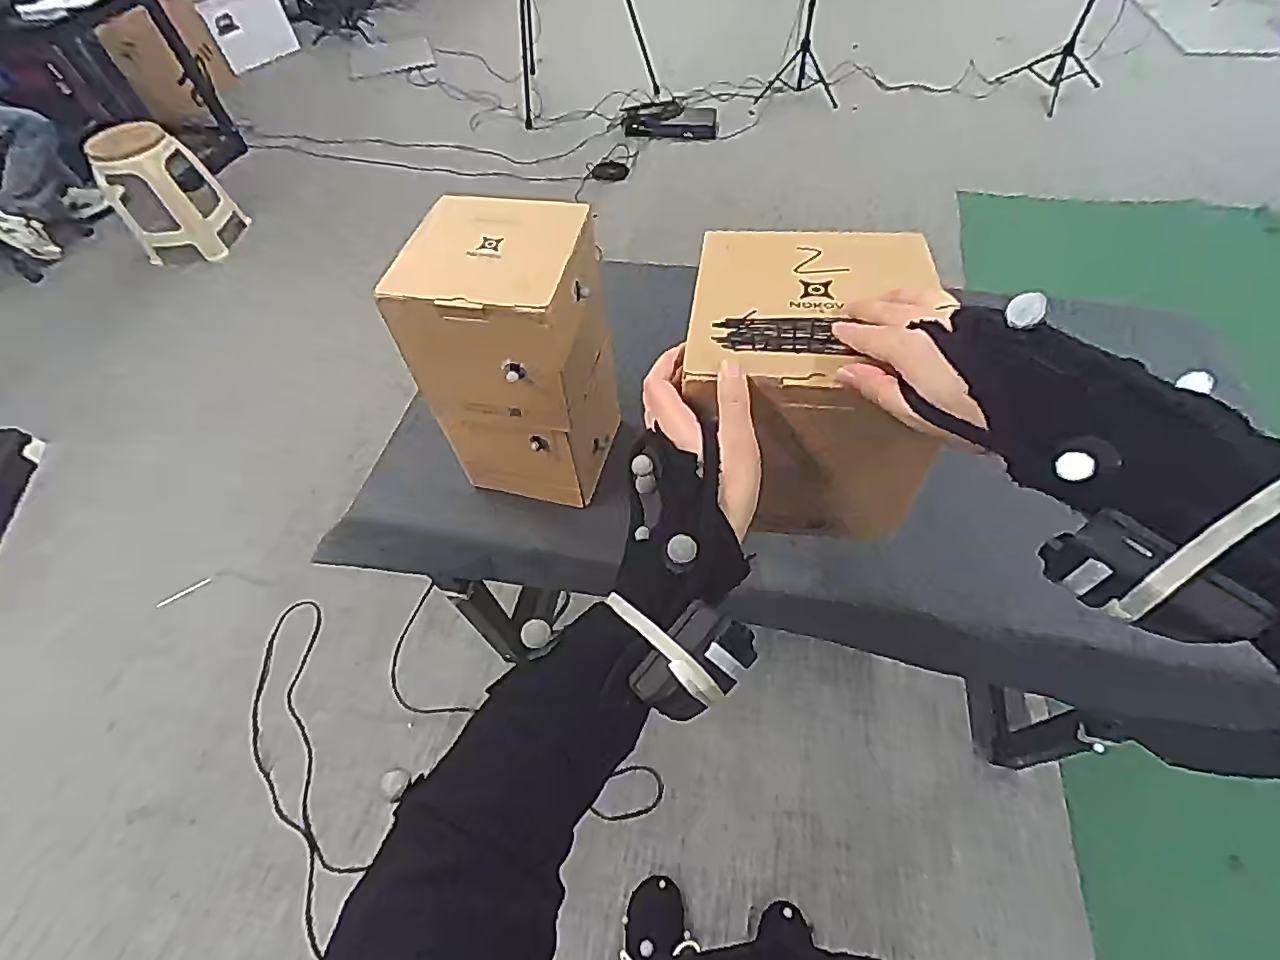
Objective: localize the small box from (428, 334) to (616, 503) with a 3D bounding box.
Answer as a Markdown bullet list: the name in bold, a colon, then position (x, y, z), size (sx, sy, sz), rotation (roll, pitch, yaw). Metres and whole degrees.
- **small box**: position (-0.141, -0.088, 0.723), size (0.179, 0.176, 0.168), rotation (11, 56, 11)

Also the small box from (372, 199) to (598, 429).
- **small box**: position (-0.145, -0.175, 0.586), size (0.168, 0.176, 0.179), rotation (7, 54, 6)
